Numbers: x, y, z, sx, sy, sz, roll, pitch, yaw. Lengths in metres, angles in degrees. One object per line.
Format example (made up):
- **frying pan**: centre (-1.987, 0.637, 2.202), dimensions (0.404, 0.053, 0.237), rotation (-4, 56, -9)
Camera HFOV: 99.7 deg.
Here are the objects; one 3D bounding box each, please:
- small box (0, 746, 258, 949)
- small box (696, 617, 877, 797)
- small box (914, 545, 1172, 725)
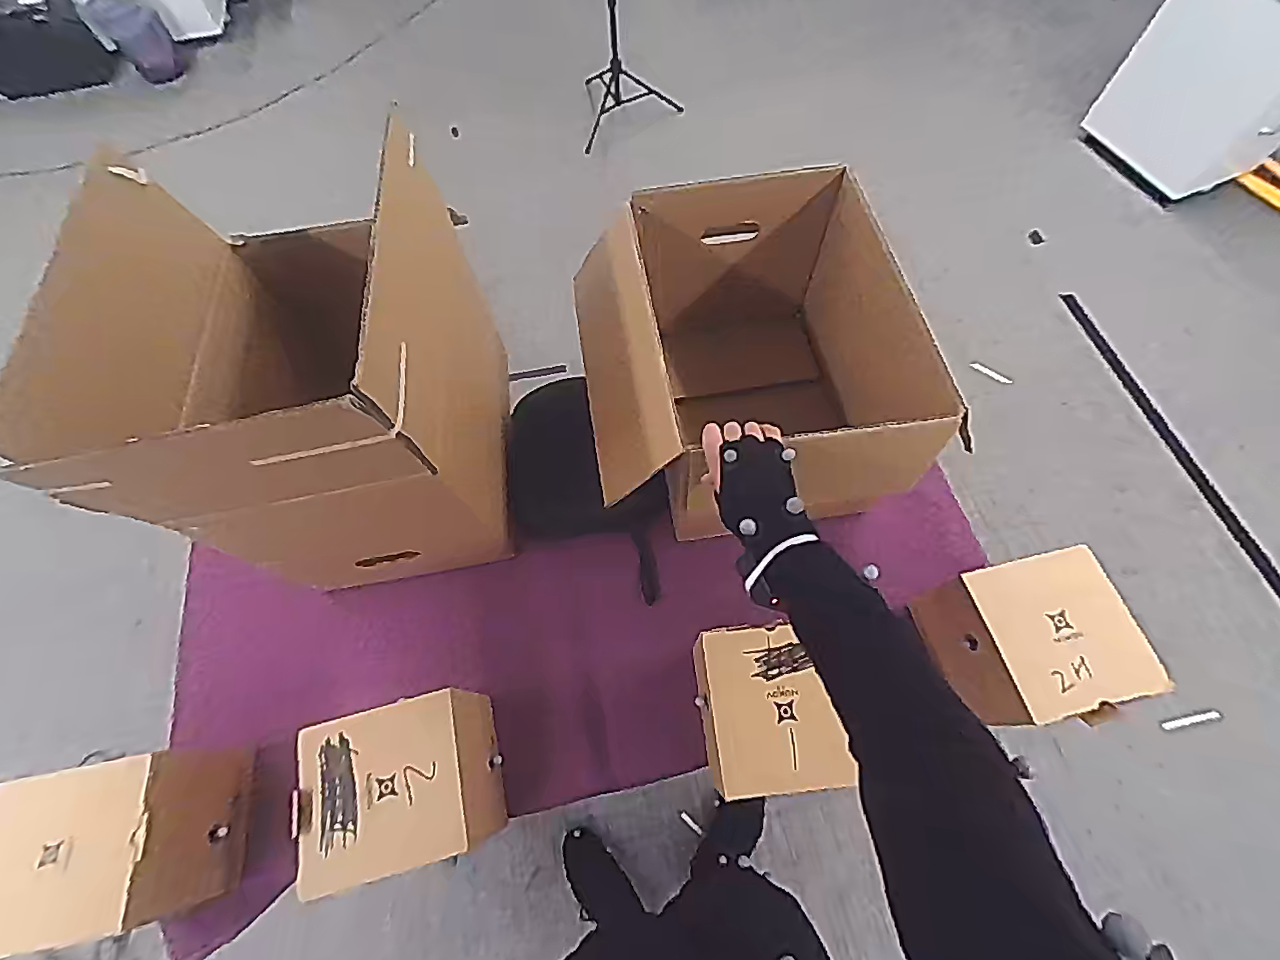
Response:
- **small box**: centre (-0.606, 0.422, 0.644), dimensions (0.179, 0.176, 0.168), rotation (-9, 65, -3)
- **small box**: centre (0.165, 0.280, 0.676), dimensions (0.168, 0.176, 0.179), rotation (-6, 67, 0)
- **small box**: centre (0.488, 0.204, 0.693), dimensions (0.168, 0.176, 0.179), rotation (-13, 66, -2)
